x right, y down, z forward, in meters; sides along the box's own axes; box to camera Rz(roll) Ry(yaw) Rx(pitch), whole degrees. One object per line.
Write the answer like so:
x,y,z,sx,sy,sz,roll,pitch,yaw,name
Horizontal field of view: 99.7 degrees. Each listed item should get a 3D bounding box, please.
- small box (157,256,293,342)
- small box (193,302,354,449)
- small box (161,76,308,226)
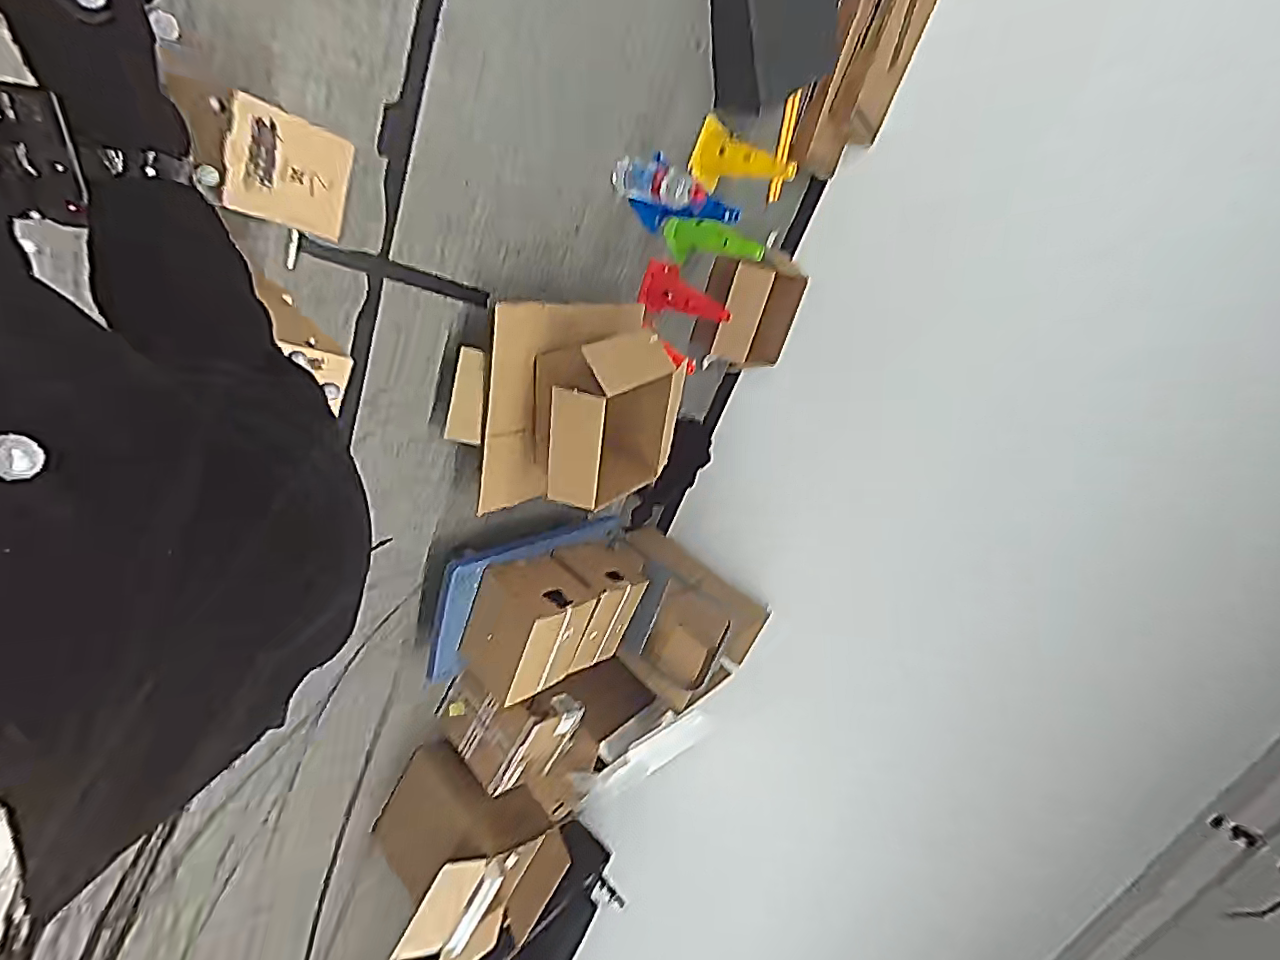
-0.853,-0.341,1.107,0.179,0.176,0.168,-4,123,-54,small box
-0.632,-0.176,0.928,0.168,0.176,0.179,6,116,-56,small box
-0.751,-0.606,0.998,0.168,0.176,0.179,-2,121,-55,small box
